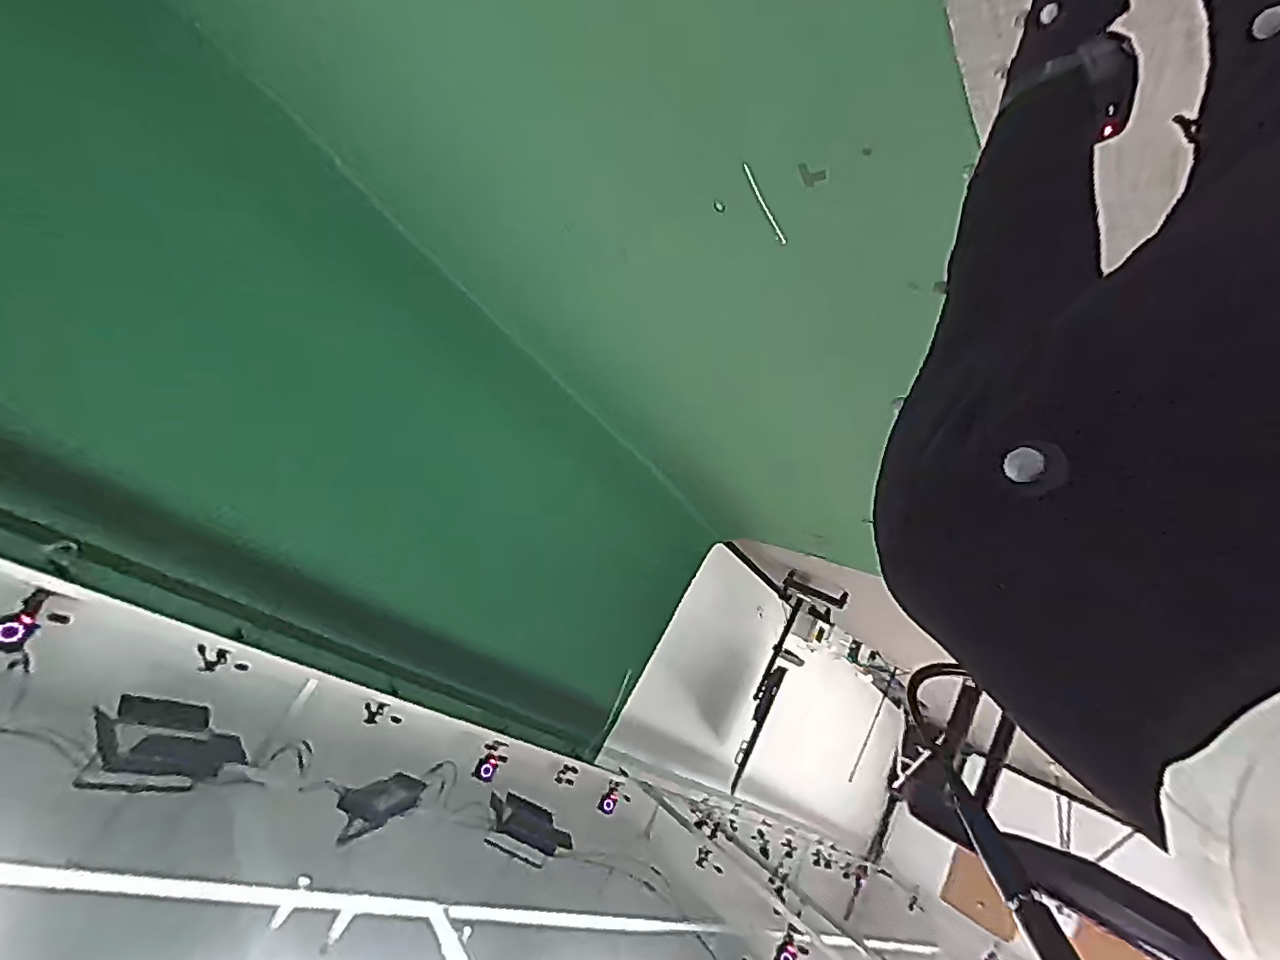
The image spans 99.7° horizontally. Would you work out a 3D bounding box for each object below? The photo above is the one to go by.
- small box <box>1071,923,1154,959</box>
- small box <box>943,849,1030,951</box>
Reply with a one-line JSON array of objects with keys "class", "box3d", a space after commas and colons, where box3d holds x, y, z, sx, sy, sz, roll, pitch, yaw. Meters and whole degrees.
[{"class": "small box", "box3d": [1.197, 1.250, 1.351, 0.179, 0.176, 0.168, 11, 156, 48]}, {"class": "small box", "box3d": [1.008, 1.210, 1.564, 0.179, 0.176, 0.168, 13, 155, 45]}]
